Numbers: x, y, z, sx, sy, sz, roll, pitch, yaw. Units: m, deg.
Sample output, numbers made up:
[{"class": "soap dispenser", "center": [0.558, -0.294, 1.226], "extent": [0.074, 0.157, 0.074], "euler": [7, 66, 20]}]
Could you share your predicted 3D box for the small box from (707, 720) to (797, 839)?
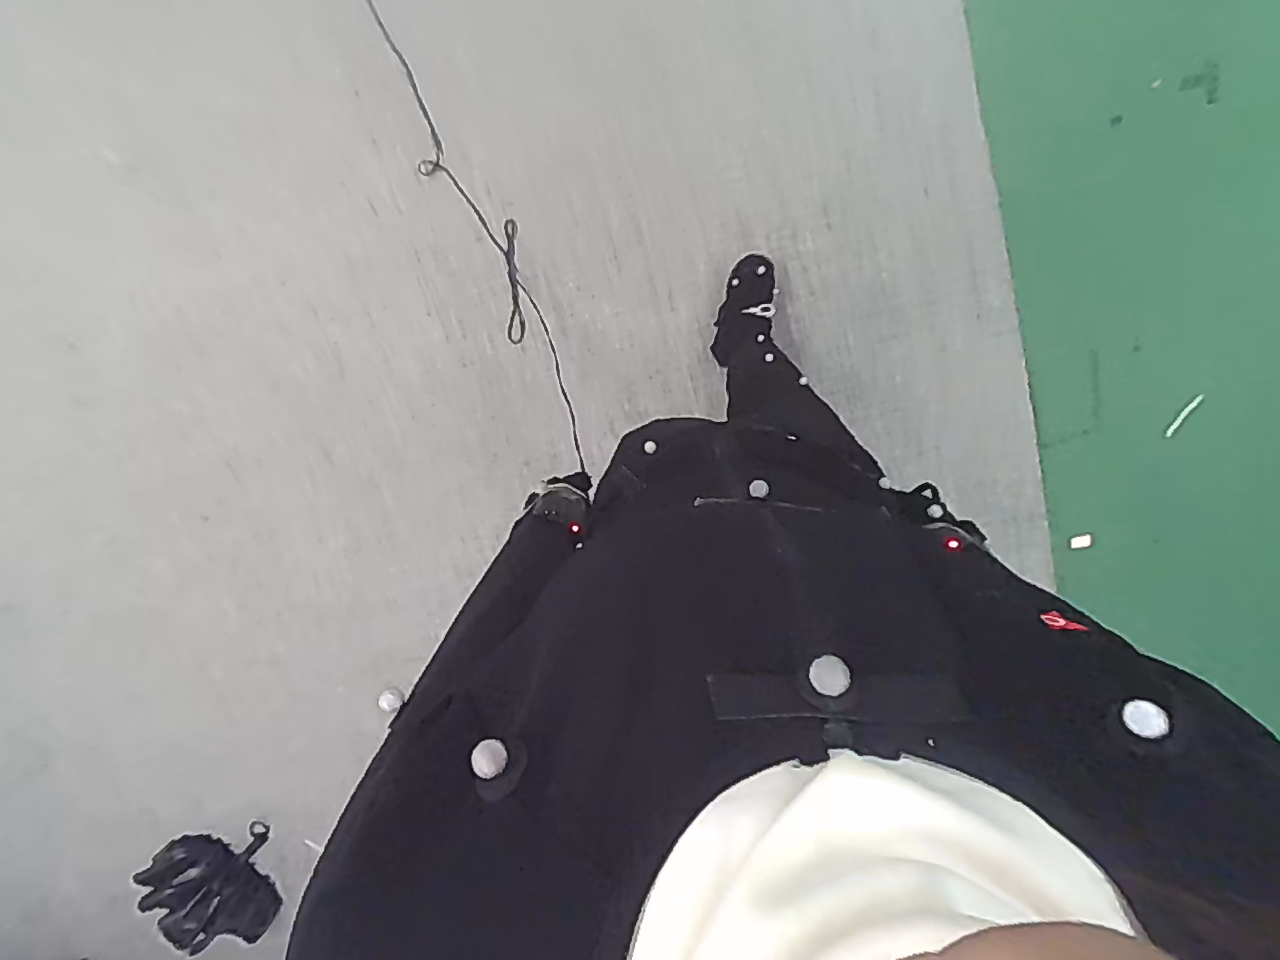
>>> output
[{"class": "small box", "center": [0.267, 0.722, 1.317], "extent": [0.168, 0.176, 0.179], "euler": [-16, 99, 5]}]
